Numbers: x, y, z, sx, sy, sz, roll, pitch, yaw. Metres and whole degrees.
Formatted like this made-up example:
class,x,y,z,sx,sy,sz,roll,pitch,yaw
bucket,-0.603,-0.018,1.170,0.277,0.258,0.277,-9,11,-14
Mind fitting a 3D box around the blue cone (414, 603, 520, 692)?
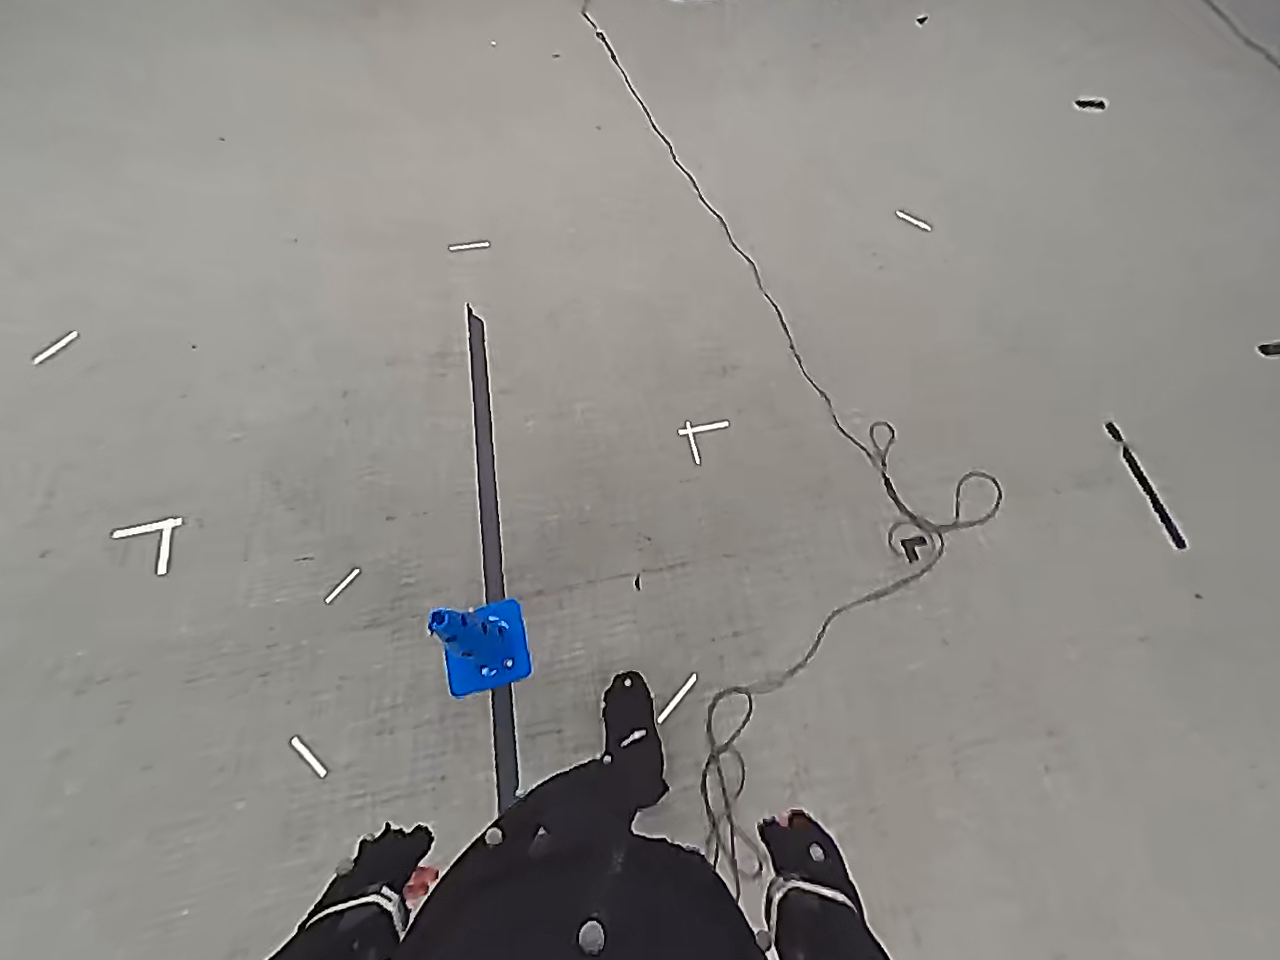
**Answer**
class,x,y,z,sx,sy,sz,roll,pitch,yaw
blue cone,-0.399,0.341,1.191,0.192,0.380,0.193,-13,65,-6
